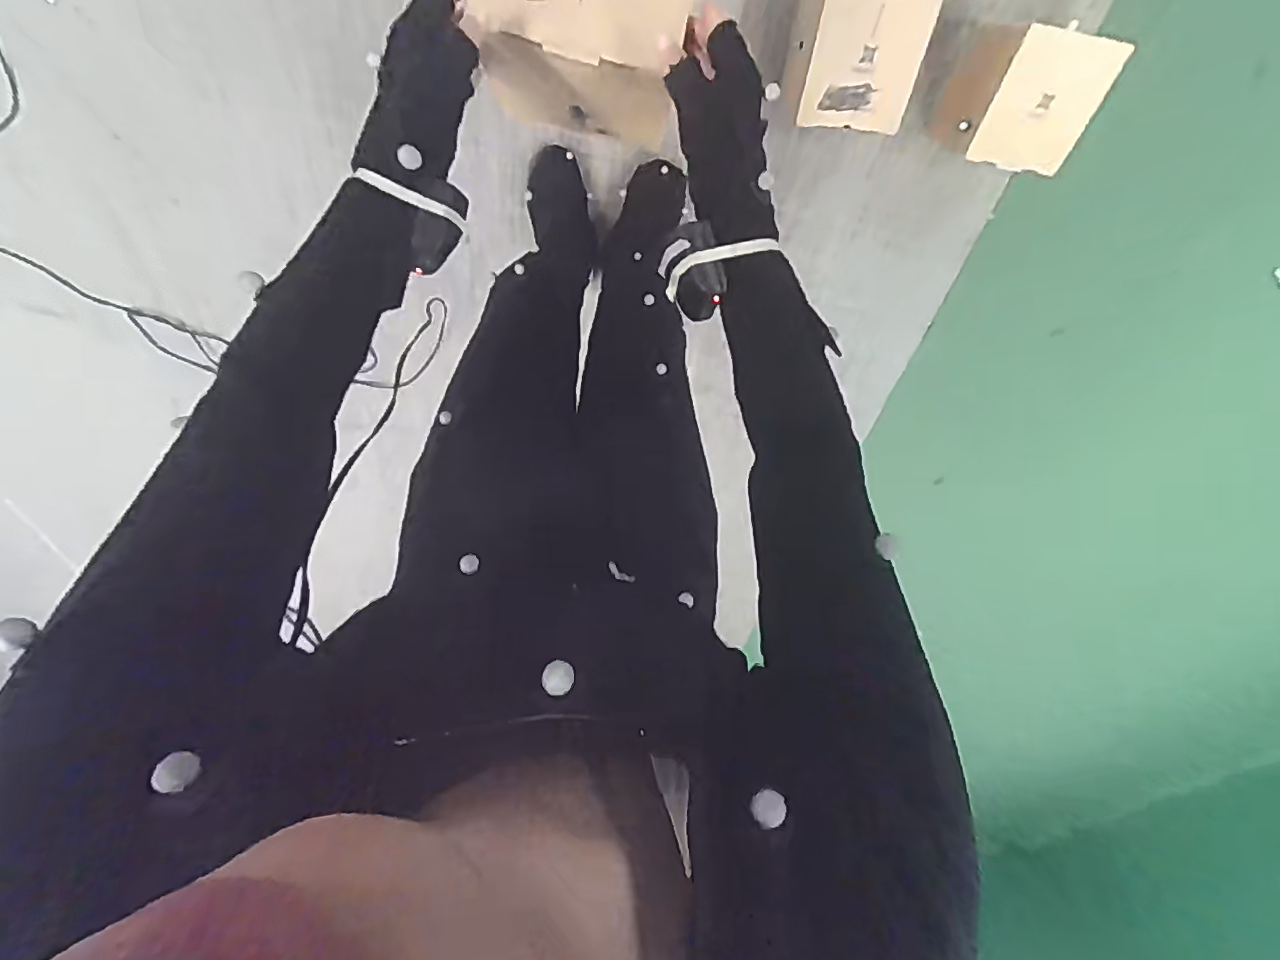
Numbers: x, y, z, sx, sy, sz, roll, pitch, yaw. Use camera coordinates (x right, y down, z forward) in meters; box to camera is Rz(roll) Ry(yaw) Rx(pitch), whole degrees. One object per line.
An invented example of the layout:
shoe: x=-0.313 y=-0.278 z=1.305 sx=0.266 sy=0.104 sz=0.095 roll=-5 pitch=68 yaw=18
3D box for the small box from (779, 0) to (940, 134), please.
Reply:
small box: x=0.328 y=-0.673 z=0.854 sx=0.168 sy=0.176 sz=0.179 roll=4 pitch=132 yaw=-4

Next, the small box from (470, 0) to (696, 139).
small box: x=-0.034 y=-0.430 z=0.457 sx=0.168 sy=0.176 sz=0.179 roll=11 pitch=104 yaw=-6

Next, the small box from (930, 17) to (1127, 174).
small box: x=0.616 y=-0.635 z=0.891 sx=0.168 sy=0.176 sz=0.179 roll=7 pitch=133 yaw=-5
